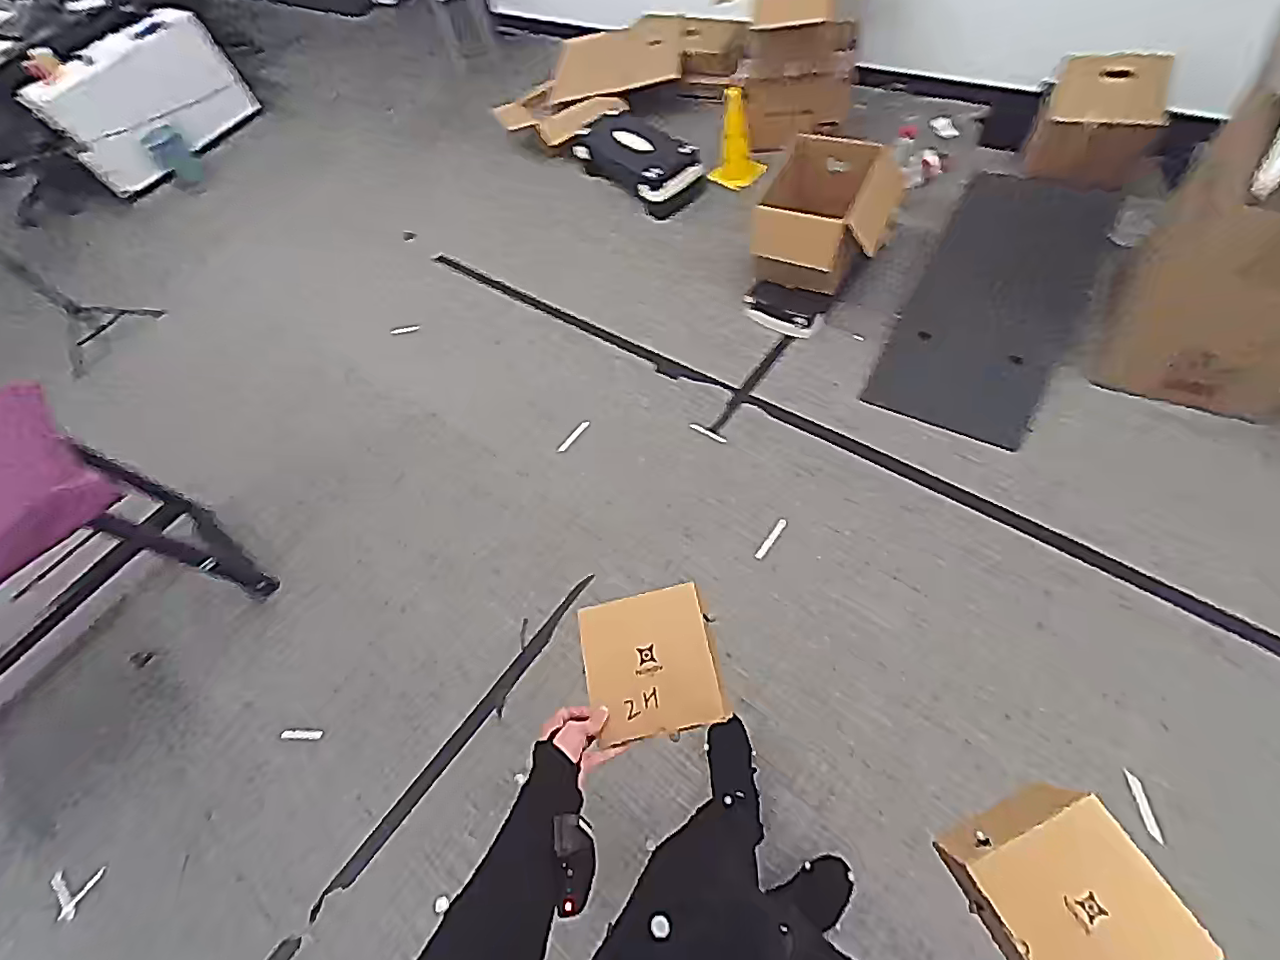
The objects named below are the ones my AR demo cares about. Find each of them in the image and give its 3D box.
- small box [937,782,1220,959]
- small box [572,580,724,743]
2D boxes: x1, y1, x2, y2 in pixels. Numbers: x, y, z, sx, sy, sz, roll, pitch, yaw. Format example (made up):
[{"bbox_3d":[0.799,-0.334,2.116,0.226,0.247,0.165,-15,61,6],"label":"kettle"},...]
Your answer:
[{"bbox_3d":[0.501,0.491,0.656,0.179,0.176,0.168,-31,61,0],"label":"small box"},{"bbox_3d":[0.016,0.258,0.764,0.168,0.176,0.179,-15,67,6],"label":"small box"}]
